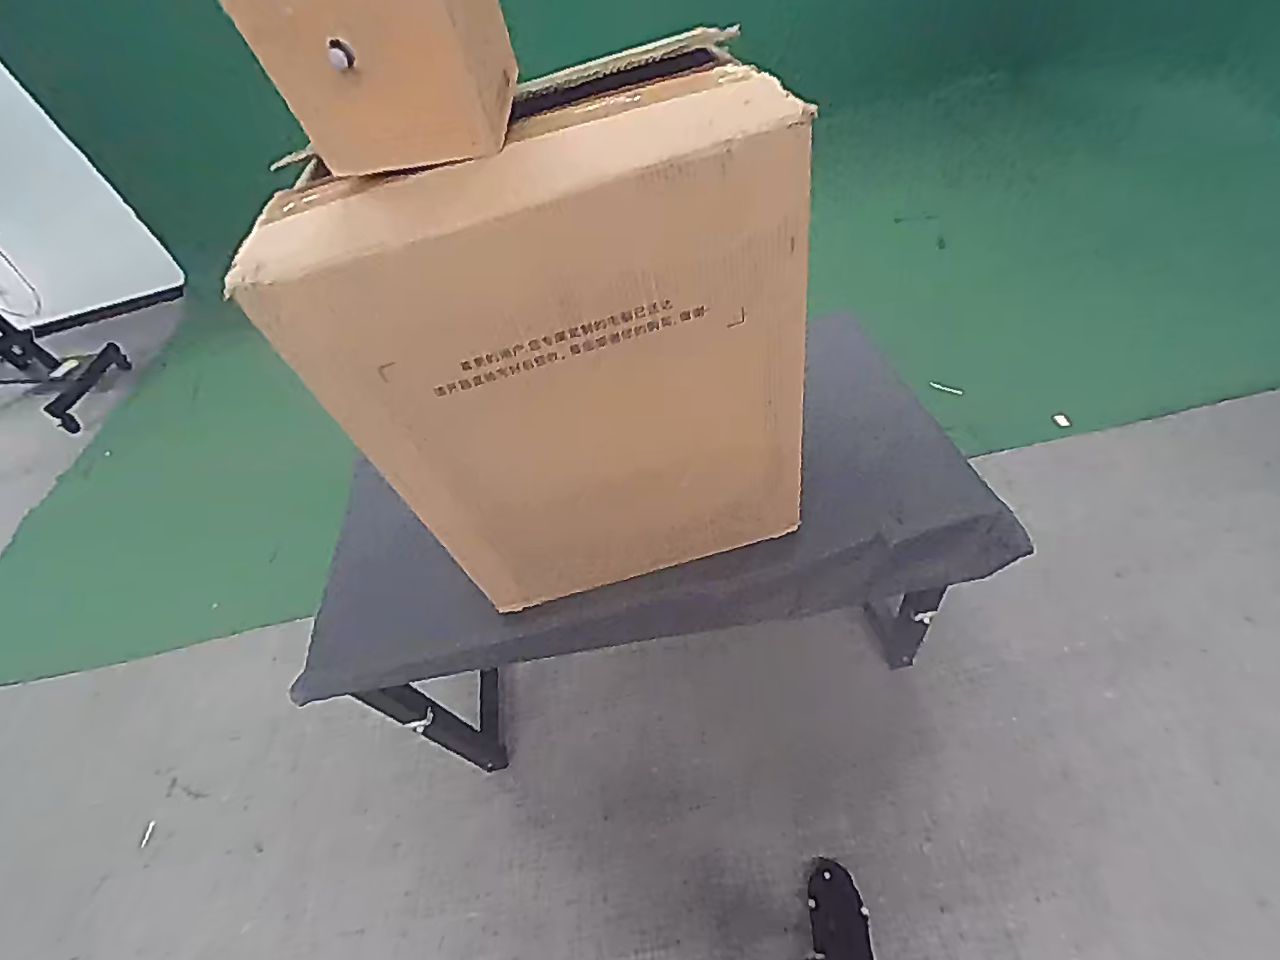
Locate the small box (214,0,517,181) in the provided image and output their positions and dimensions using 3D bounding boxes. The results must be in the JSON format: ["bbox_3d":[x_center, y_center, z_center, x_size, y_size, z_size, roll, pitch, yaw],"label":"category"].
[{"bbox_3d":[-0.236,-0.409,0.506,0.179,0.176,0.168,-4,60,8],"label":"small box"}]
